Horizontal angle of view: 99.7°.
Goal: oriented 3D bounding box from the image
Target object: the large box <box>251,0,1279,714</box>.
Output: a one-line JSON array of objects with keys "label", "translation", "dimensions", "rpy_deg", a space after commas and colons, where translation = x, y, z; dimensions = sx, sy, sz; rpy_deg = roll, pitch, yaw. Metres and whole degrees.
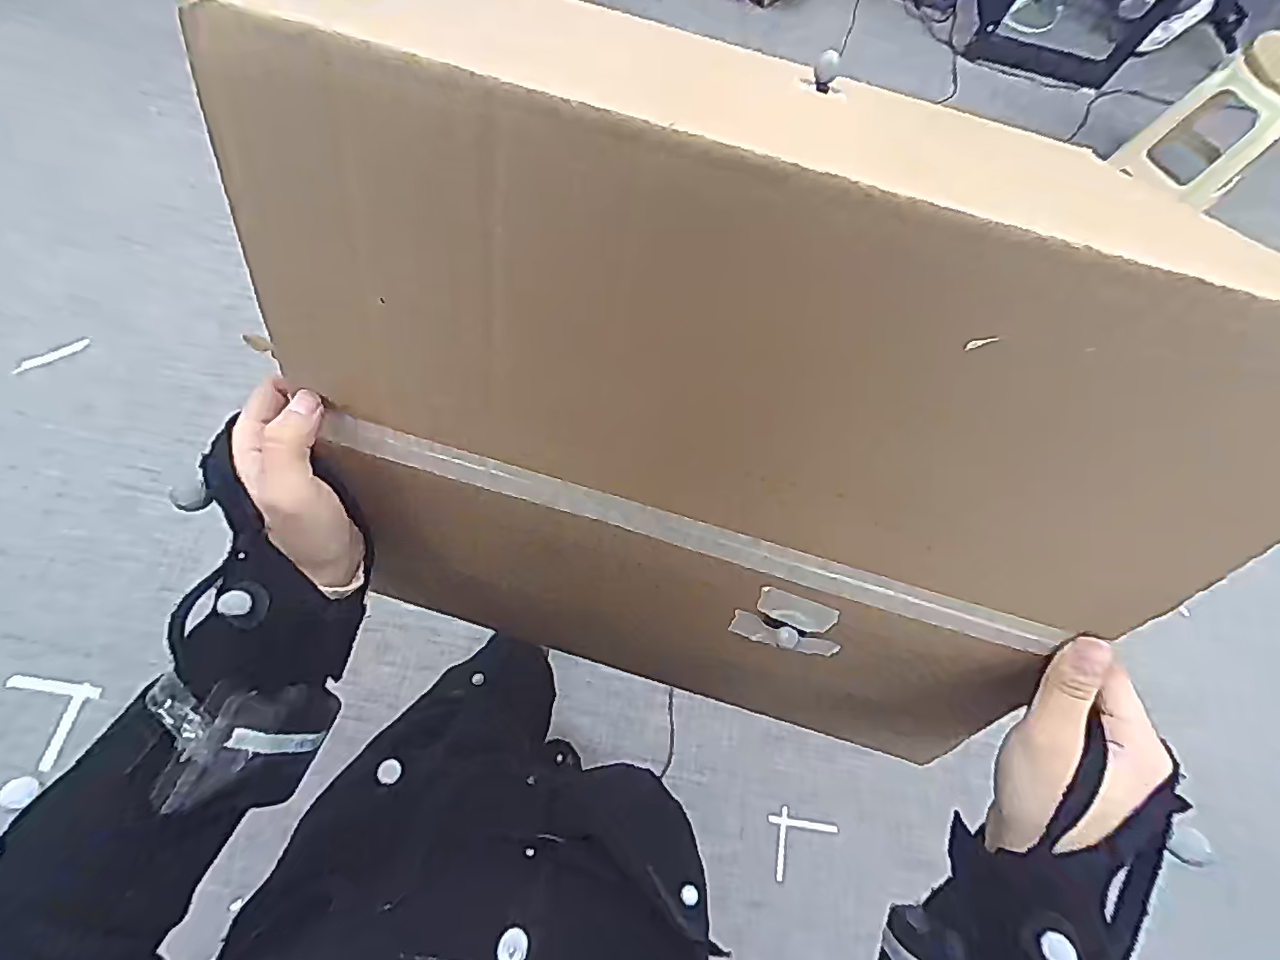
[{"label": "large box", "translation": [0.068, -0.101, 0.371], "dimensions": [0.408, 0.320, 0.320], "rpy_deg": [16, 44, 1]}]
